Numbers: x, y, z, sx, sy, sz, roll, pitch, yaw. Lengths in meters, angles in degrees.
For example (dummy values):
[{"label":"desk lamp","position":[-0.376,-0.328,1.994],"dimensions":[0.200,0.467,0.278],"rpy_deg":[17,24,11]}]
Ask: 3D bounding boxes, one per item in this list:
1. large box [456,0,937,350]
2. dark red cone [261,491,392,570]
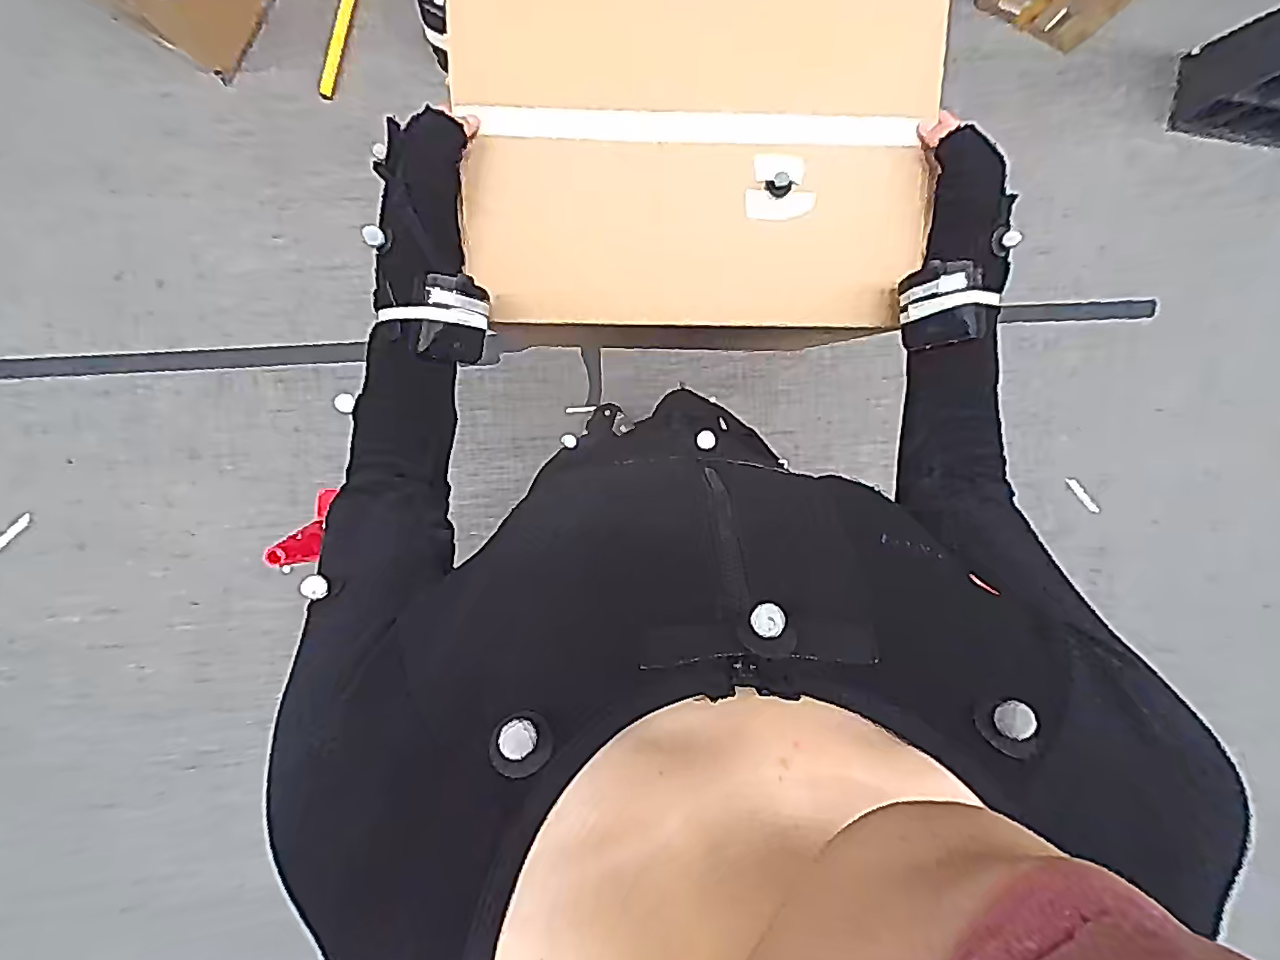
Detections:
[{"label":"large box","position":[0.041,-0.317,0.603],"dimensions":[0.408,0.320,0.320],"rpy_deg":[0,100,-4]},{"label":"dark red cone","position":[-0.731,0.143,1.237],"dimensions":[0.201,0.394,0.202],"rpy_deg":[3,94,-5]}]
